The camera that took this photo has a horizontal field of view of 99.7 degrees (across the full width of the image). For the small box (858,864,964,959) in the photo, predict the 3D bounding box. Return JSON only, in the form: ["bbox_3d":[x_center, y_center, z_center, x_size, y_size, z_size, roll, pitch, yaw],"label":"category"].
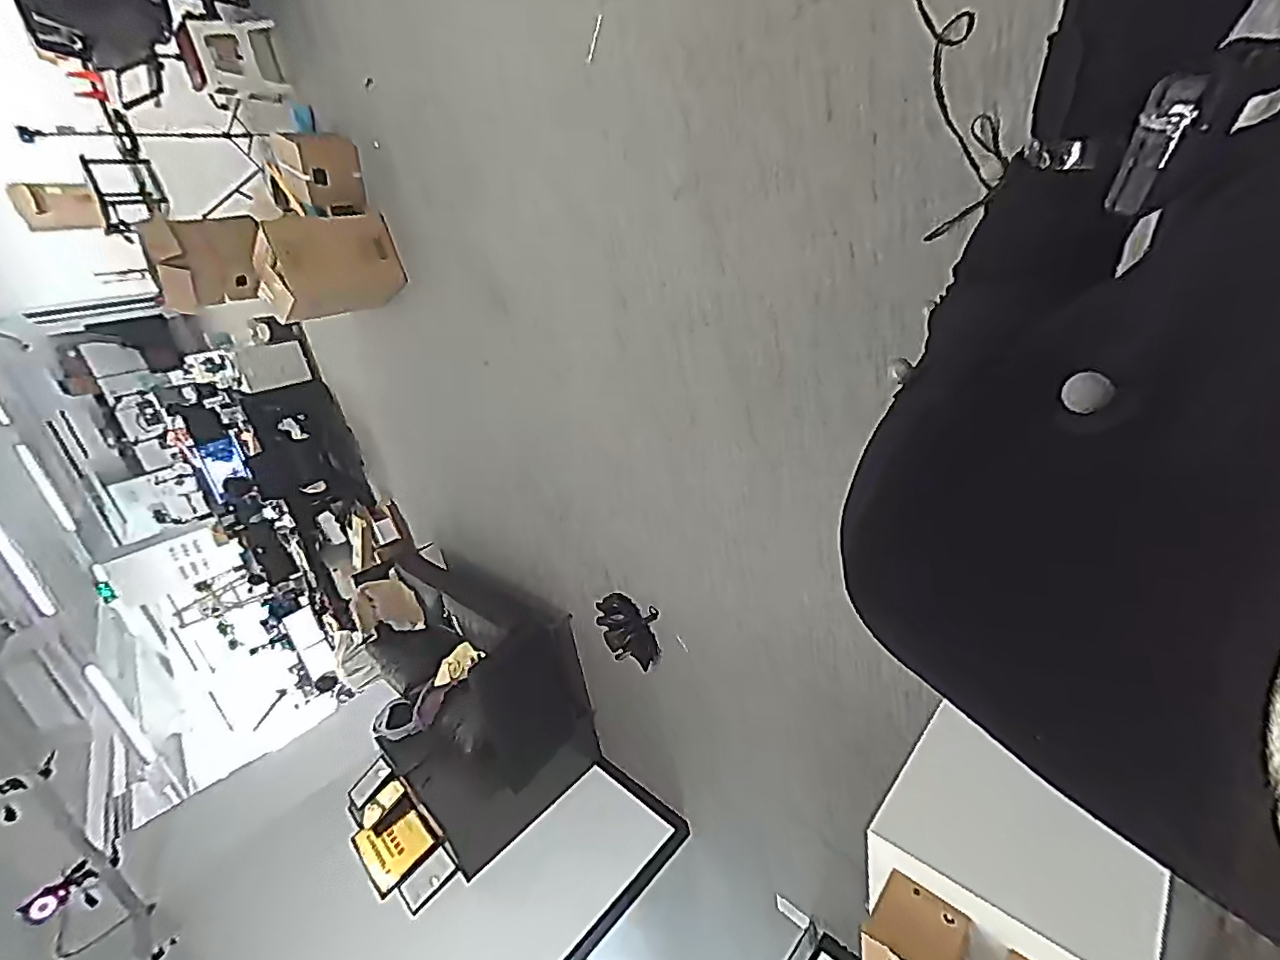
[{"bbox_3d":[0.603,1.016,1.205,0.168,0.176,0.179,14,123,44],"label":"small box"}]
